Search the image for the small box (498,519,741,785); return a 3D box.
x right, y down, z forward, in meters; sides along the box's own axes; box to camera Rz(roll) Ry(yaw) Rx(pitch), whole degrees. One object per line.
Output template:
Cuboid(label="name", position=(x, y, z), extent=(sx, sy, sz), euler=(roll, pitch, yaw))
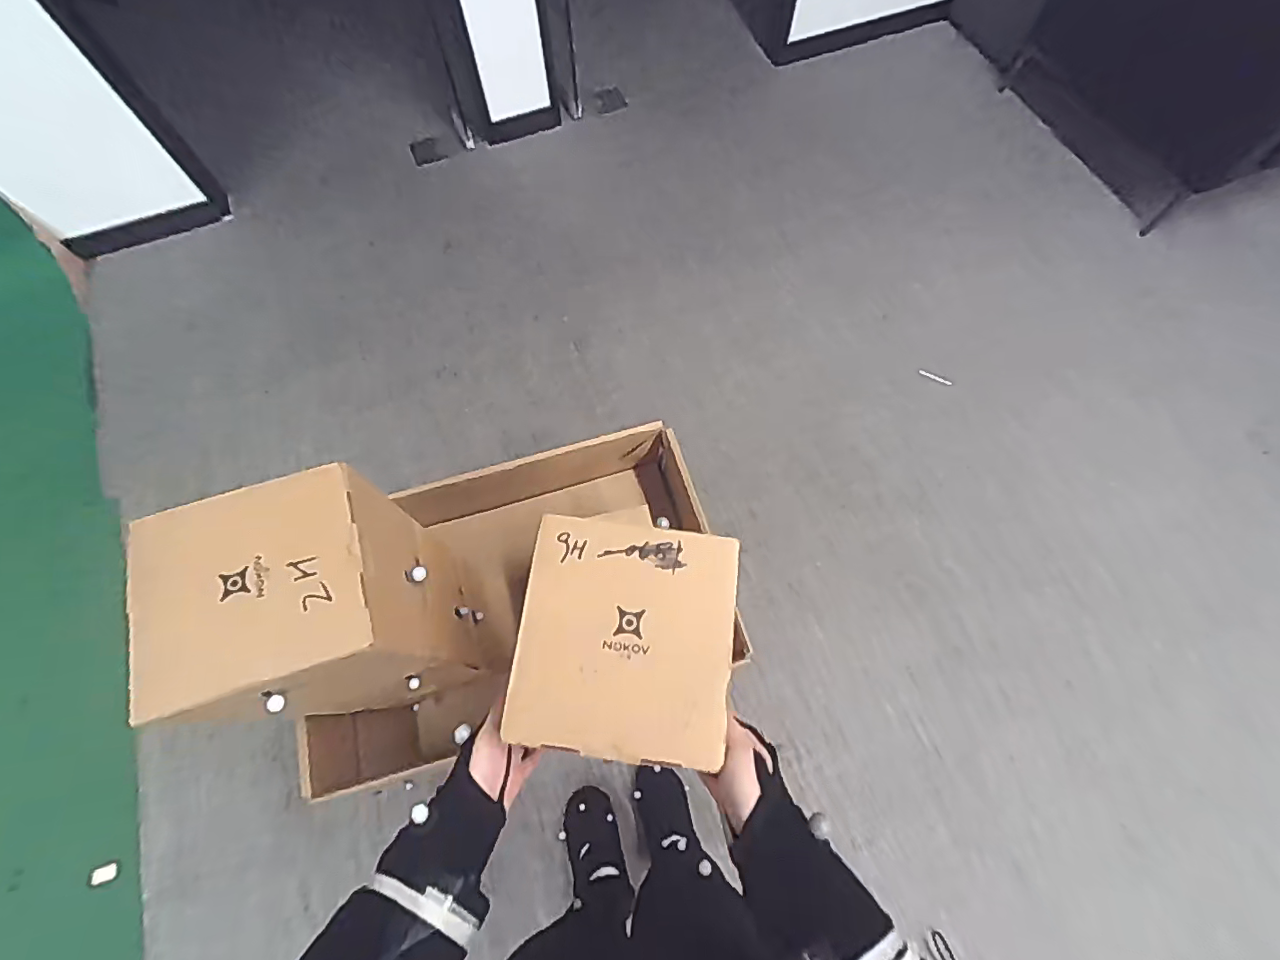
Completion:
Cuboid(label="small box", position=(-0.014, 0.150, 0.492), extent=(0.168, 0.176, 0.179), euler=(9, 72, 0))

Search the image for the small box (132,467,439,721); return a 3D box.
Cuboid(label="small box", position=(-0.312, 0.113, 0.505), extent=(0.179, 0.176, 0.168), euler=(-16, 70, -9))

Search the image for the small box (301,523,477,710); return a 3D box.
Cuboid(label="small box", position=(-0.318, 0.174, 0.658), extent=(0.179, 0.176, 0.168), euler=(-16, 69, -9))
